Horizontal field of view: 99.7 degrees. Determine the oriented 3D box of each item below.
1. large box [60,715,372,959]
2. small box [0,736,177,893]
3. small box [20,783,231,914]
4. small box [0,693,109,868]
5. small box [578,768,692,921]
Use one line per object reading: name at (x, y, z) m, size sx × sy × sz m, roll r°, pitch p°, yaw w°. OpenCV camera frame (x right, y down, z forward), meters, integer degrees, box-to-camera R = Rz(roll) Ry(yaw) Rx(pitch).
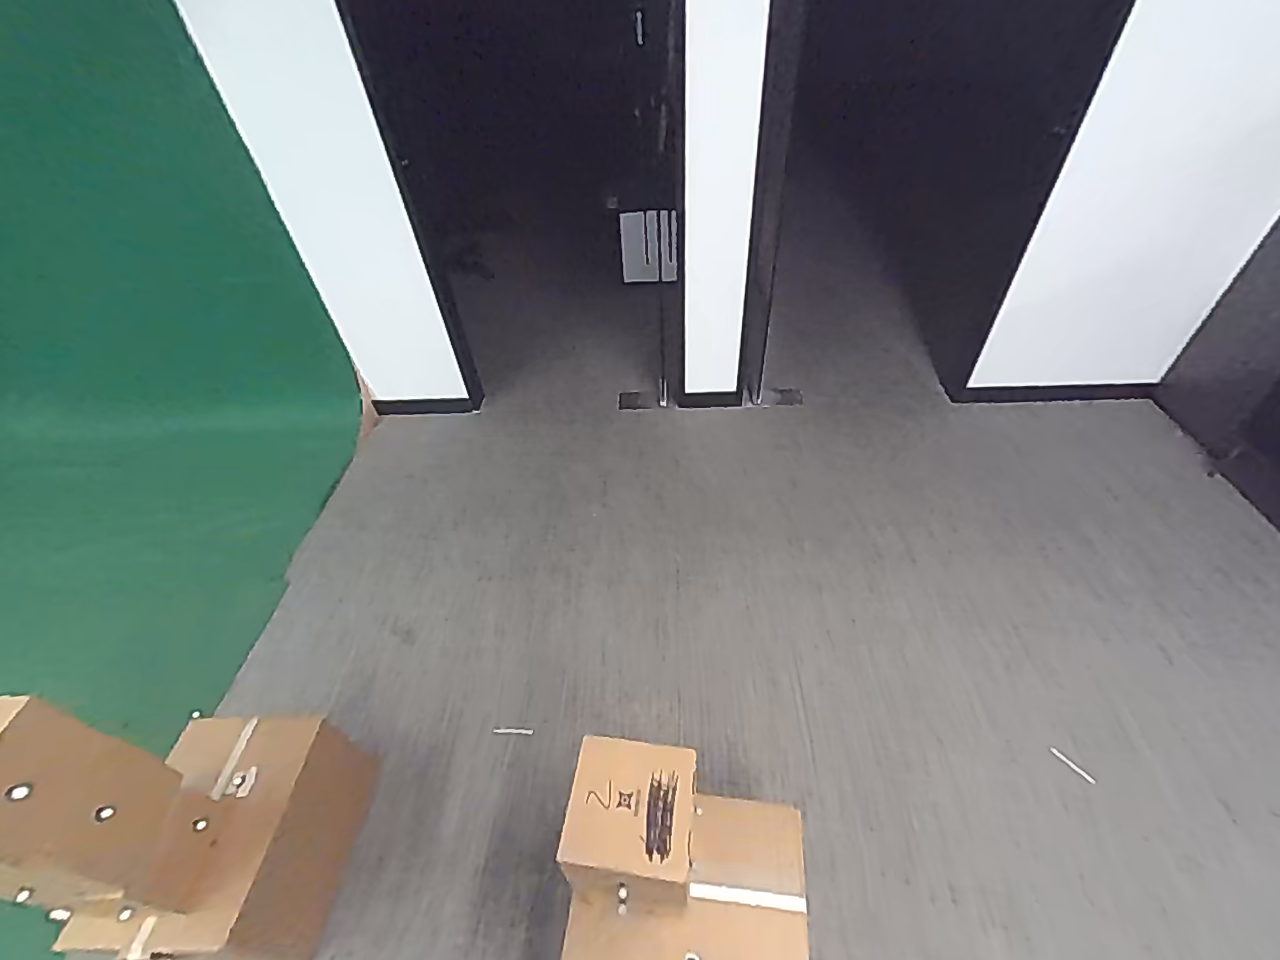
large box at (-0.859, 0.779, 1.181) m, size 0.320 × 0.320 × 0.408 m, roll -1°, pitch 43°, yaw 3°
small box at (-0.898, 0.531, 0.853) m, size 0.168 × 0.176 × 0.179 m, roll -4°, pitch 43°, yaw -1°
small box at (-0.890, 0.654, 0.962) m, size 0.179 × 0.176 × 0.168 m, roll -3°, pitch 44°, yaw 3°
small box at (-0.904, 0.414, 0.738) m, size 0.168 × 0.176 × 0.179 m, roll -3°, pitch 44°, yaw 1°
small box at (0.001, 0.627, 0.928) m, size 0.168 × 0.176 × 0.179 m, roll 4°, pitch 43°, yaw 7°
